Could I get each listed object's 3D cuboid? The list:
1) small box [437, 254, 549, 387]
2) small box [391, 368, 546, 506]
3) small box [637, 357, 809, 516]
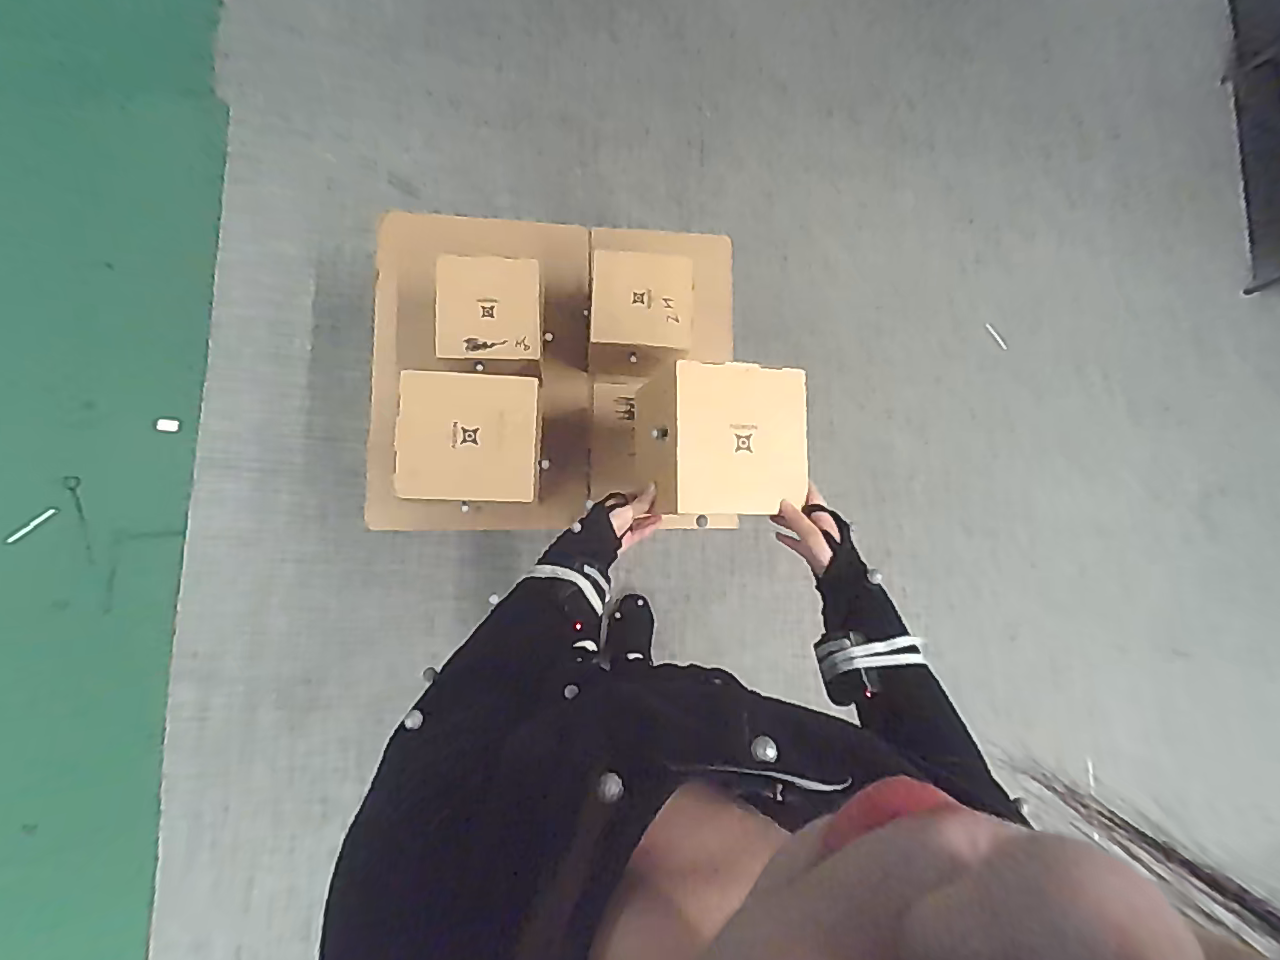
[{"bbox_3d":[-0.251,-0.271,0.954,0.168,0.176,0.179,-1,83,-6],"label":"small box"},{"bbox_3d":[-0.231,-0.051,0.769,0.179,0.176,0.168,3,85,-7],"label":"small box"},{"bbox_3d":[0.096,-0.043,0.685,0.168,0.176,0.179,1,85,-15],"label":"small box"}]
